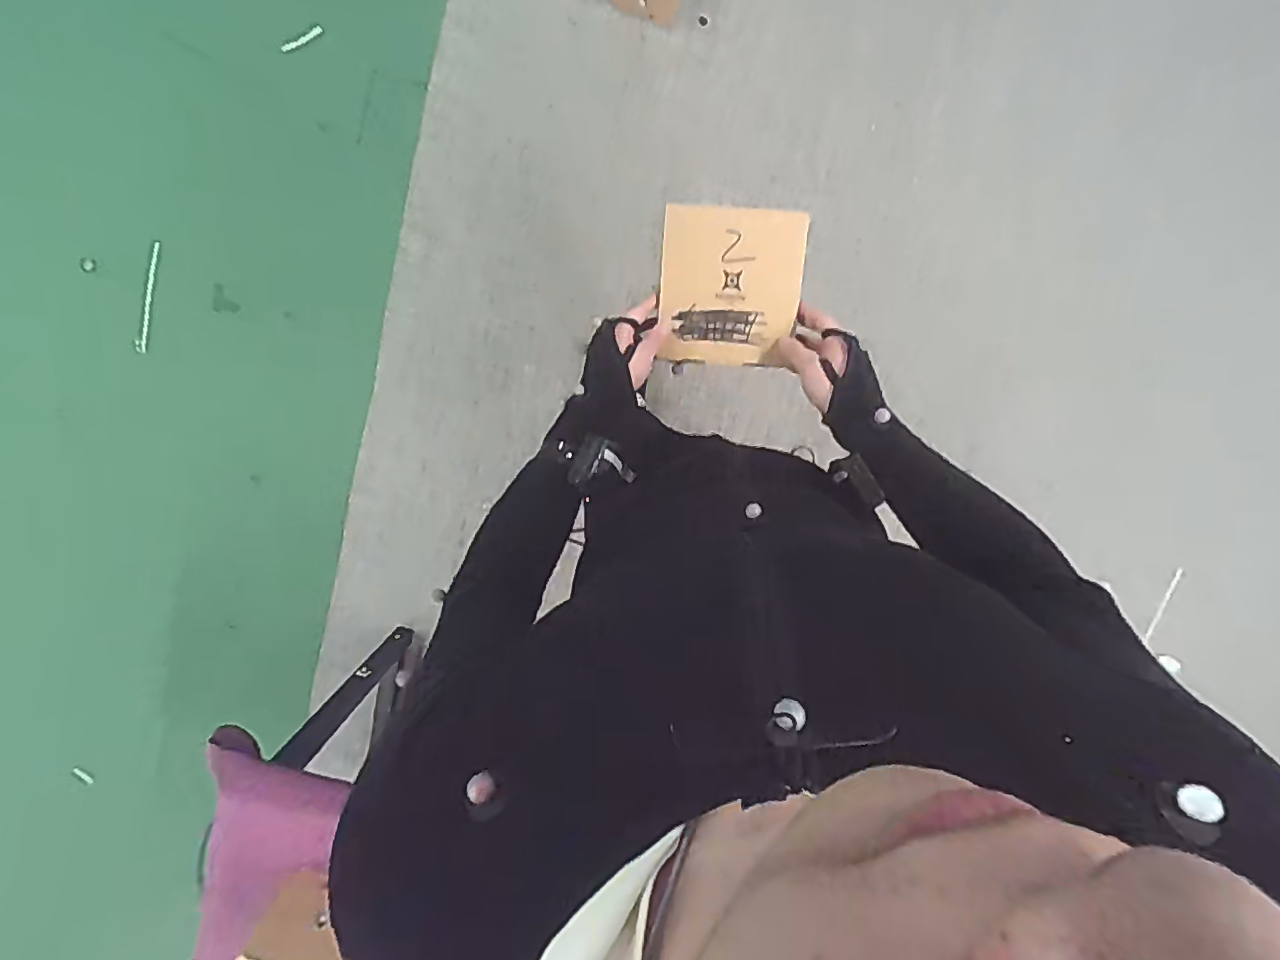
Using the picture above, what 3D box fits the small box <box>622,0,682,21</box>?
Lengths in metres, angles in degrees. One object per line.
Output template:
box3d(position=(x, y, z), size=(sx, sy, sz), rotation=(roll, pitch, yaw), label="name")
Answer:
box3d(position=(0.038, -1.258, 1.289), size=(0.168, 0.176, 0.179), rotation=(18, 100, -3), label="small box")
